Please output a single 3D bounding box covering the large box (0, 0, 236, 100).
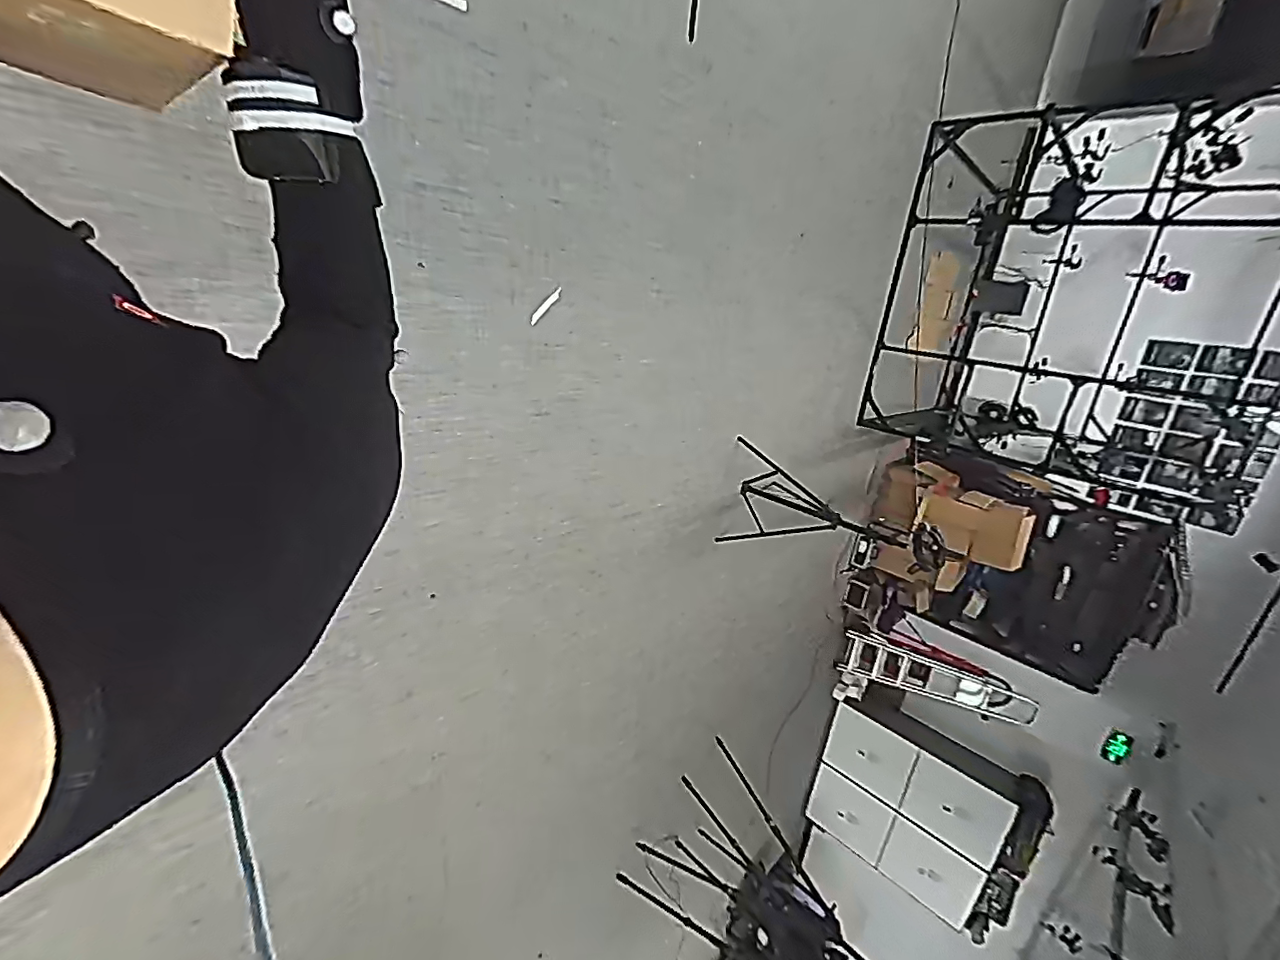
[{"bbox_3d":[-0.472,-0.444,0.247,0.408,0.320,0.320,-7,114,-47],"label":"large box"}]
